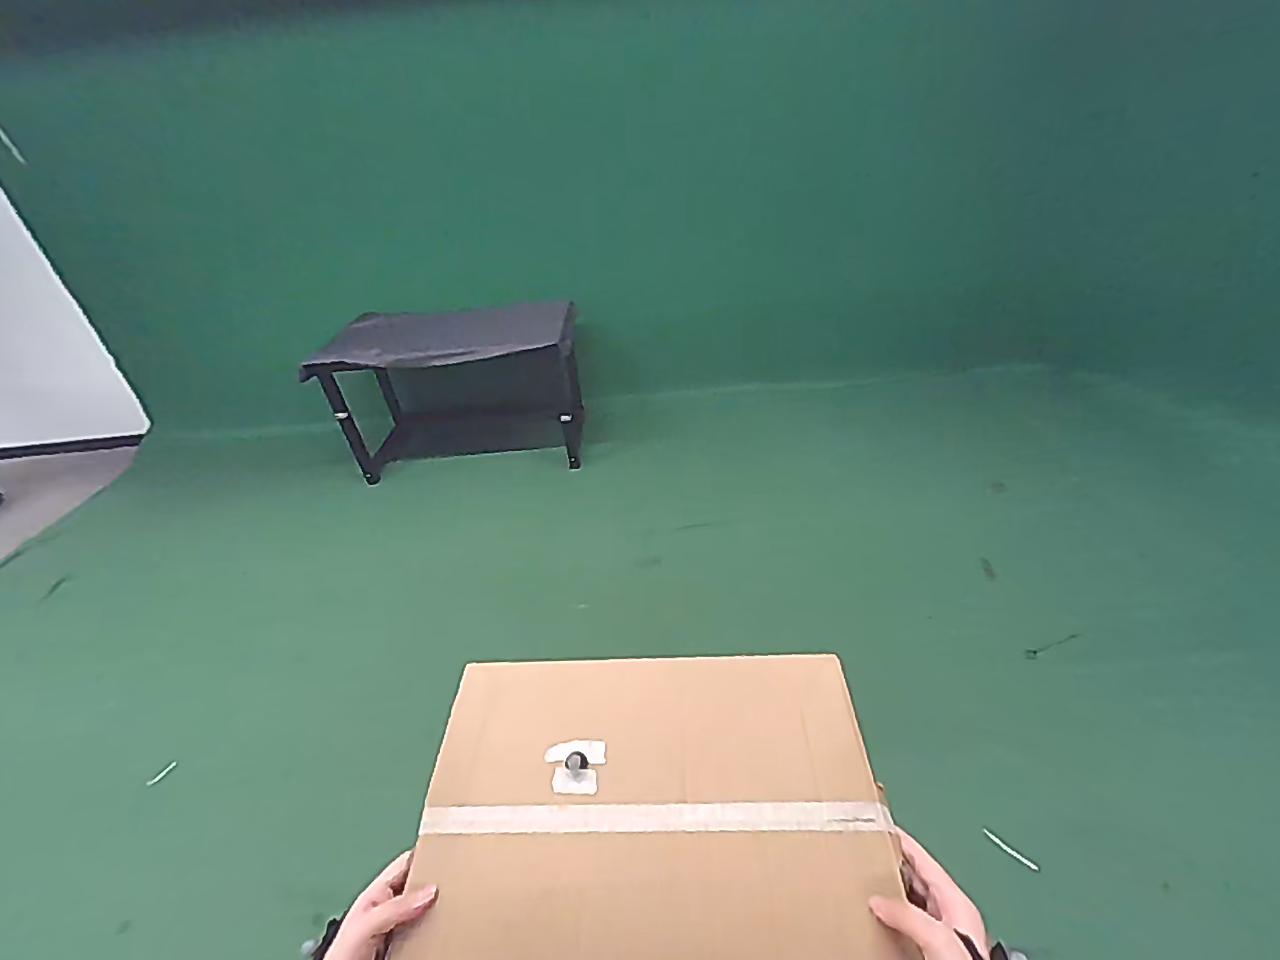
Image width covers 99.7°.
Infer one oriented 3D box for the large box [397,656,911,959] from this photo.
[{"bbox_3d":[0.022,0.417,0.581,0.408,0.320,0.320,-4,41,5],"label":"large box"}]
